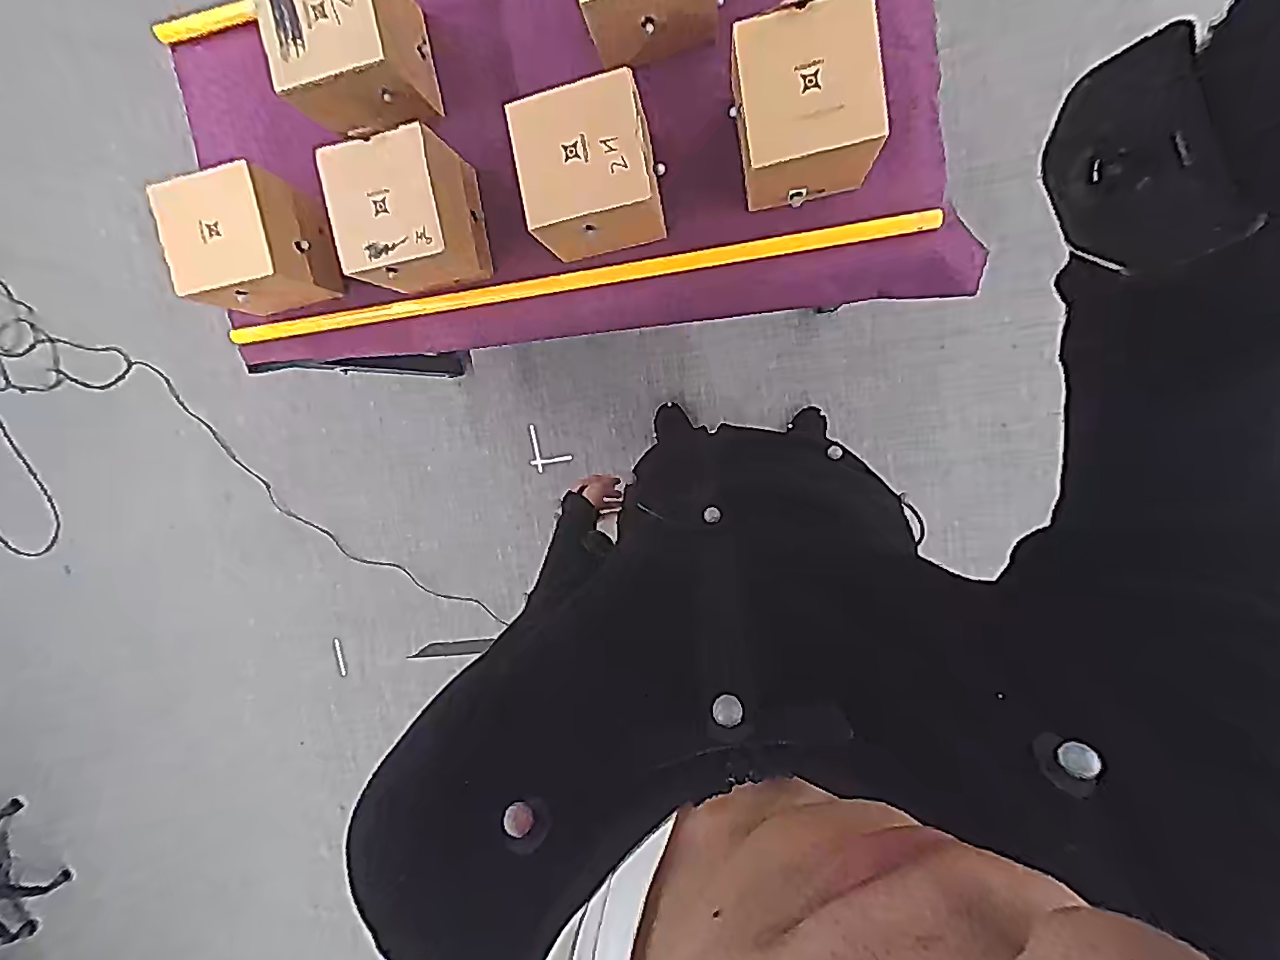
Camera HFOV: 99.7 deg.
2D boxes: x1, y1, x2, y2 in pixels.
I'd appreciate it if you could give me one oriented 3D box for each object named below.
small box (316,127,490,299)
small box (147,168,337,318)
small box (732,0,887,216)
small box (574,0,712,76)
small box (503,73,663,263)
[{"bbox_3d":[-0.352,-0.395,0.833,0.168,0.176,0.179,-7,96,12],"label":"small box"},{"bbox_3d":[-0.628,-0.373,0.882,0.179,0.176,0.168,-9,96,10],"label":"small box"},{"bbox_3d":[0.215,-0.488,0.726,0.168,0.176,0.179,-8,95,12],"label":"small box"},{"bbox_3d":[0.000,-0.699,0.731,0.179,0.176,0.168,-10,98,12],"label":"small box"},{"bbox_3d":[-0.072,-0.432,0.782,0.179,0.176,0.168,-9,95,10],"label":"small box"}]
